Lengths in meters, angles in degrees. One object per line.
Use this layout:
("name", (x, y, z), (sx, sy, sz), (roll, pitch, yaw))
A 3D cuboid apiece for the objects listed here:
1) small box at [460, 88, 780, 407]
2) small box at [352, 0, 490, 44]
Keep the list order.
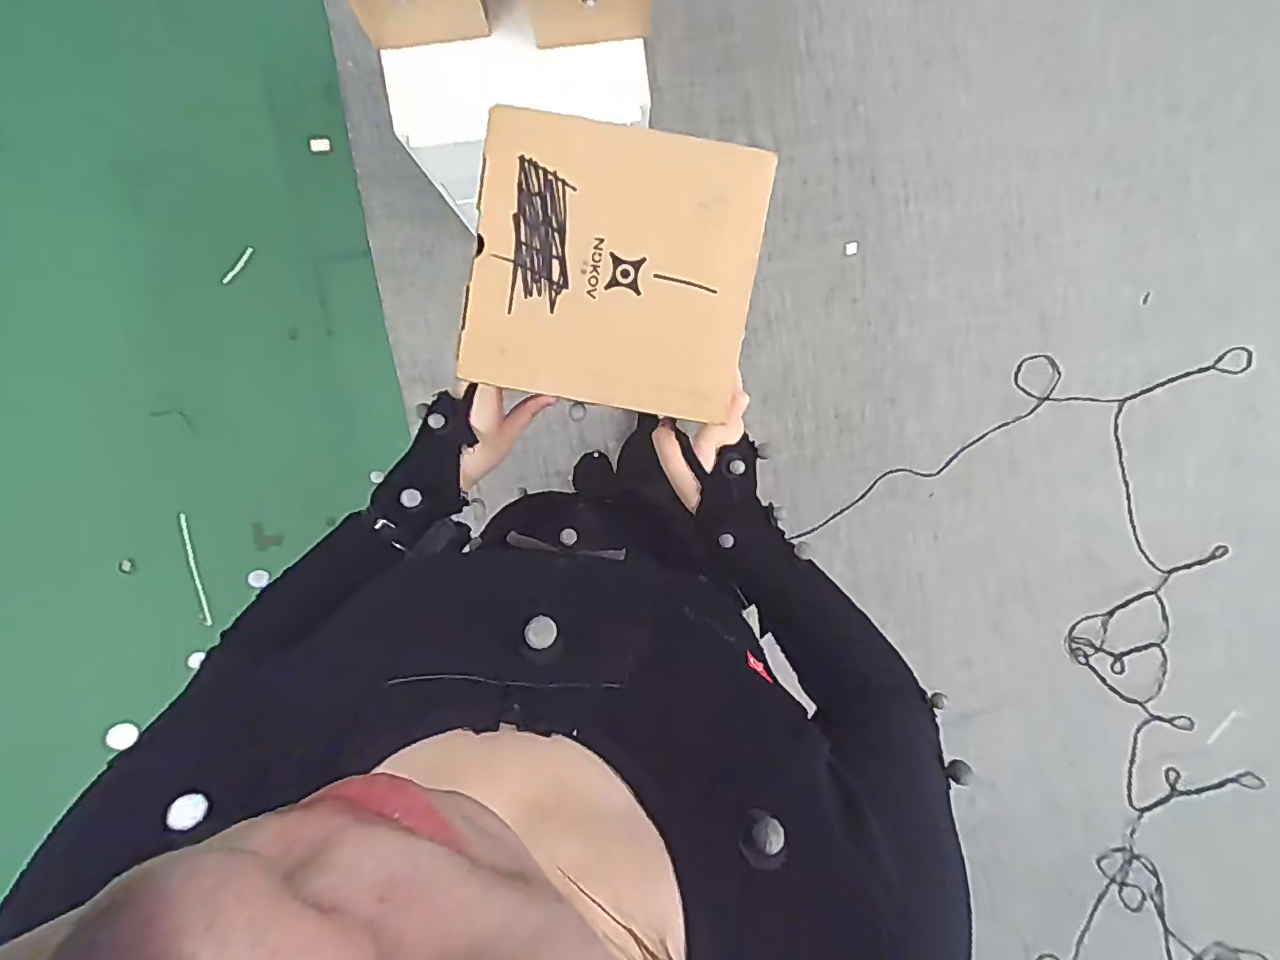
("small box", (-0.015, -0.150, 0.413), (0.179, 0.176, 0.168), (10, 97, -2))
("small box", (-0.315, -0.727, 0.721), (0.179, 0.176, 0.168), (-9, 96, -3))
